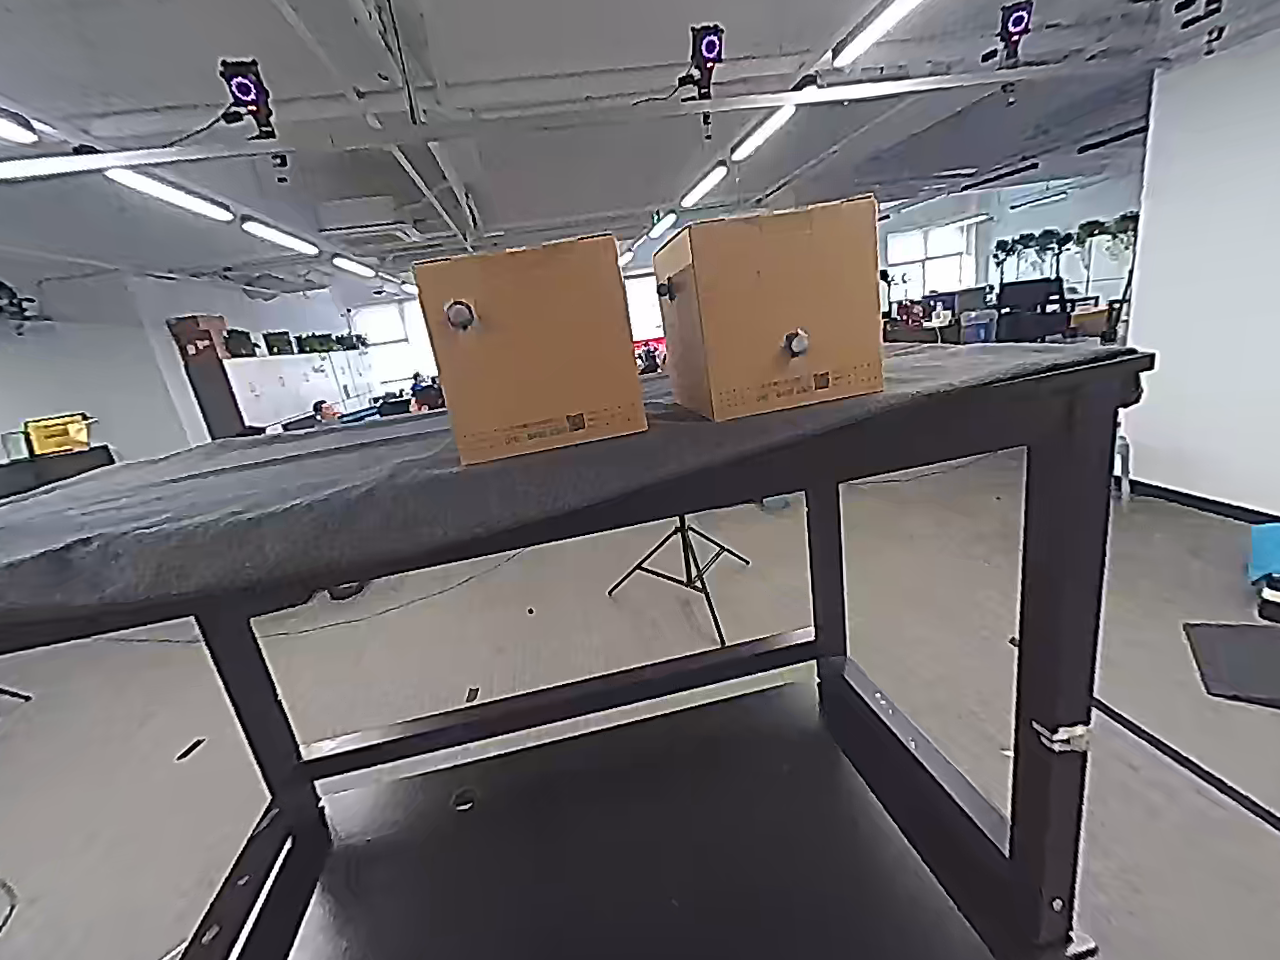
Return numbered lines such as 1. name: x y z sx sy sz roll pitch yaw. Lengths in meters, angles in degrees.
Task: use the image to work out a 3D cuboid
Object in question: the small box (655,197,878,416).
1. small box: 0.119 -0.165 0.550 0.168 0.176 0.179 -12 16 -6
